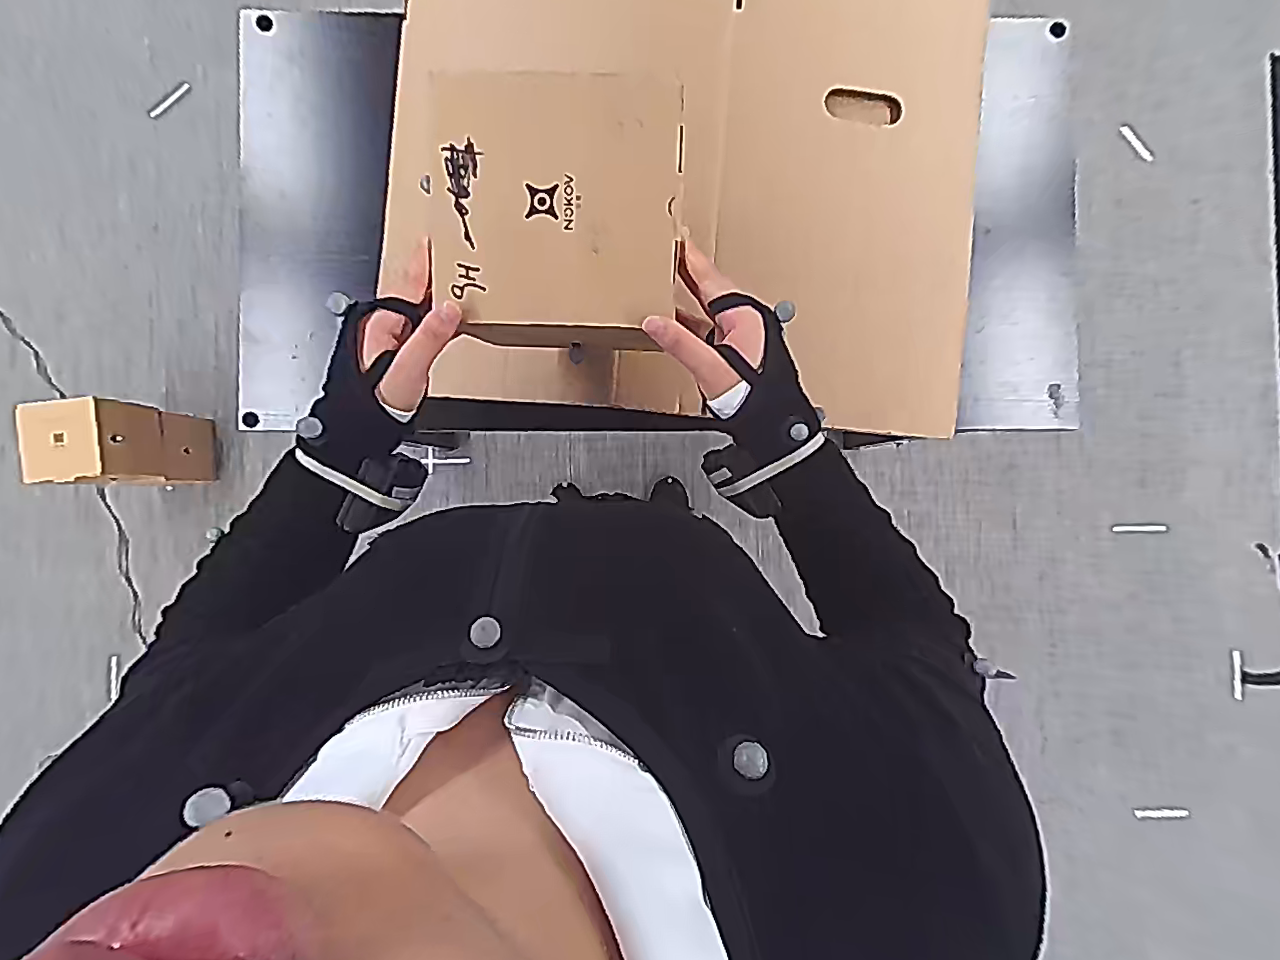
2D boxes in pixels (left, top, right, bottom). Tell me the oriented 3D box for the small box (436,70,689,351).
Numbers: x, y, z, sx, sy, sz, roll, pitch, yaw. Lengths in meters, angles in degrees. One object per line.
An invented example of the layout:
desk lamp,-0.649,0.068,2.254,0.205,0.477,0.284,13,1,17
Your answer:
small box,-0.057,-0.204,0.458,0.179,0.176,0.168,2,96,-1

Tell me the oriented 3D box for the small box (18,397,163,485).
small box,-1.249,-0.084,1.243,0.168,0.176,0.179,-7,88,-2

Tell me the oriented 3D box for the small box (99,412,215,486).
small box,-1.251,-0.076,1.406,0.168,0.176,0.179,-4,90,-1
